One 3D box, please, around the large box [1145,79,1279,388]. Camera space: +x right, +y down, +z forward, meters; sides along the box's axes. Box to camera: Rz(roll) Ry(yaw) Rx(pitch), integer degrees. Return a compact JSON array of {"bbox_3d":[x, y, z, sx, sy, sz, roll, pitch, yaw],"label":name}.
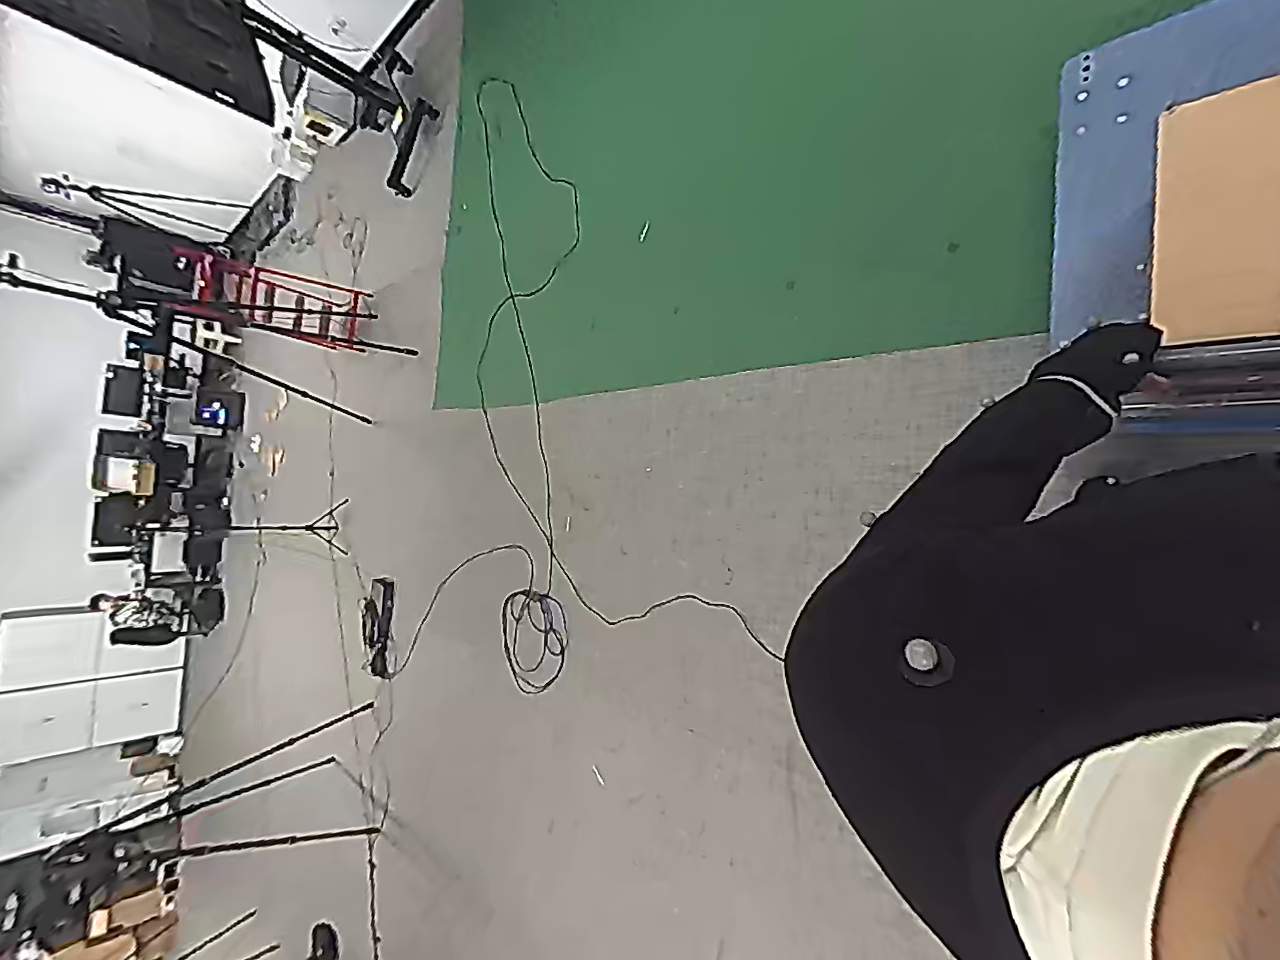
[{"bbox_3d":[1.069,-0.398,0.915,0.320,0.320,0.408,1,86,41],"label":"large box"}]
